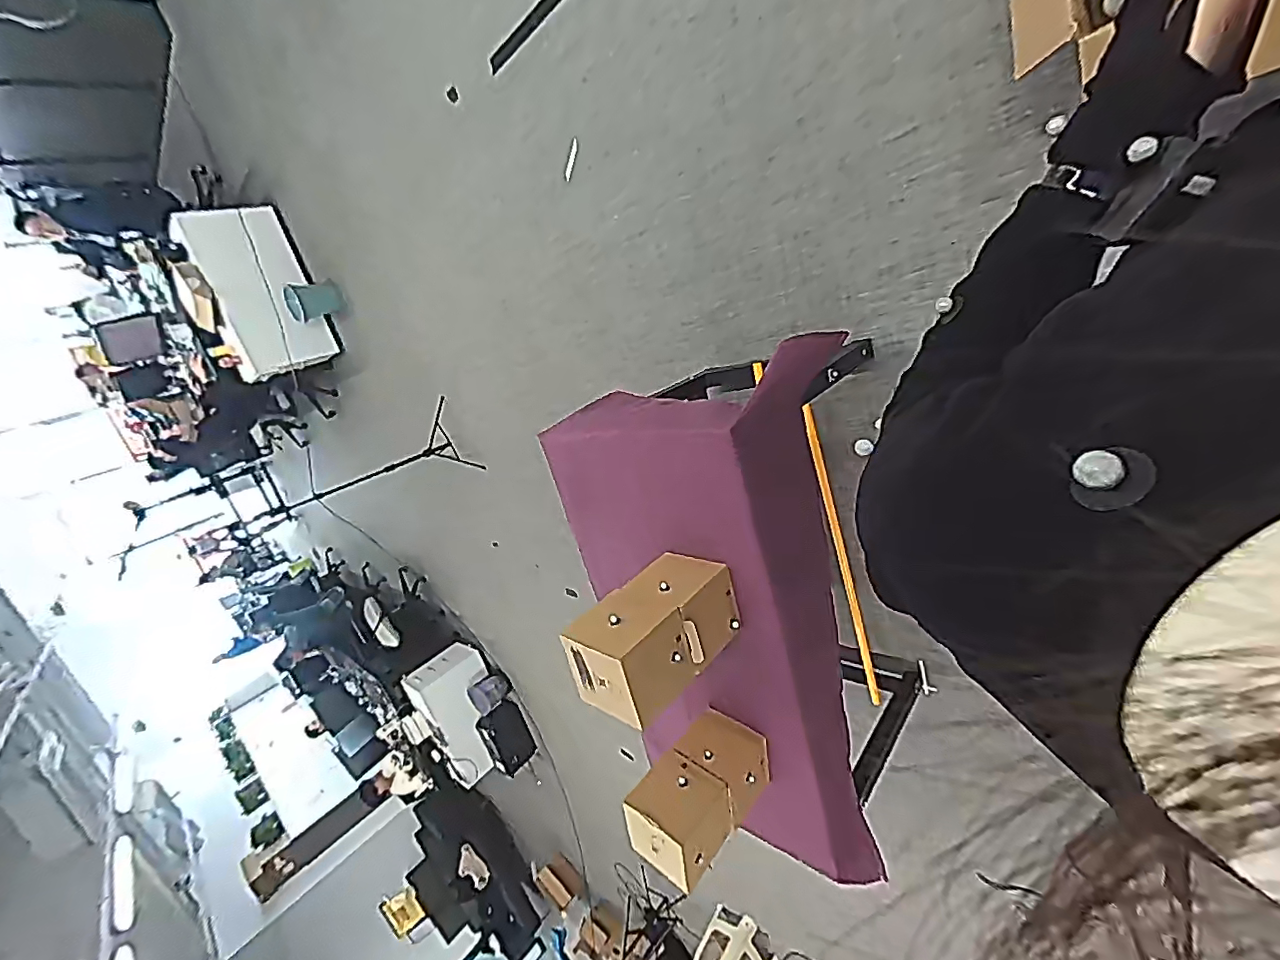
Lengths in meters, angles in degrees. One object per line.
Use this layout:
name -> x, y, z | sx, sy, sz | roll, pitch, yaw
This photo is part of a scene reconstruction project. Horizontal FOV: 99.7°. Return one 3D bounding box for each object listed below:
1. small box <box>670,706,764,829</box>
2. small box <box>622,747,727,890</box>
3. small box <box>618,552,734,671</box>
small box -> 0.194, 0.694, 1.329 | 0.179, 0.176, 0.168 | 14, 123, 40
small box -> 0.084, 0.756, 1.223 | 0.168, 0.176, 0.179 | 15, 123, 39
small box -> 0.086, 0.273, 1.166 | 0.179, 0.176, 0.168 | 5, 118, 45
